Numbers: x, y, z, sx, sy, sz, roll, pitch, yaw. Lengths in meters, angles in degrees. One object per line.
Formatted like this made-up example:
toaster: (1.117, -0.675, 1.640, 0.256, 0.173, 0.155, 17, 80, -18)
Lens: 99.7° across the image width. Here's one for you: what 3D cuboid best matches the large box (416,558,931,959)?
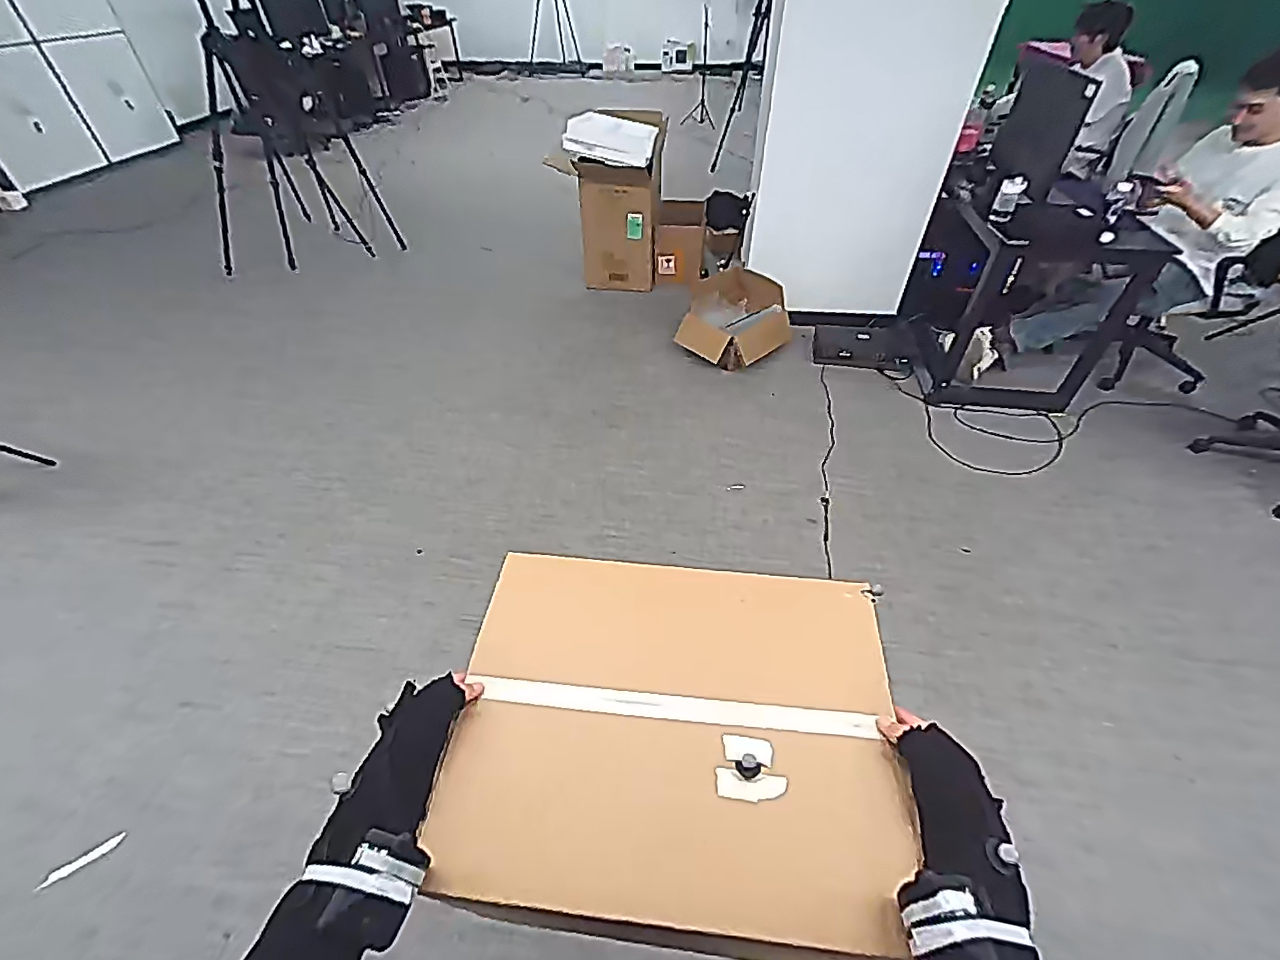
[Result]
large box: (0.032, 0.316, 0.618, 0.408, 0.320, 0.320, 5, 48, 4)
